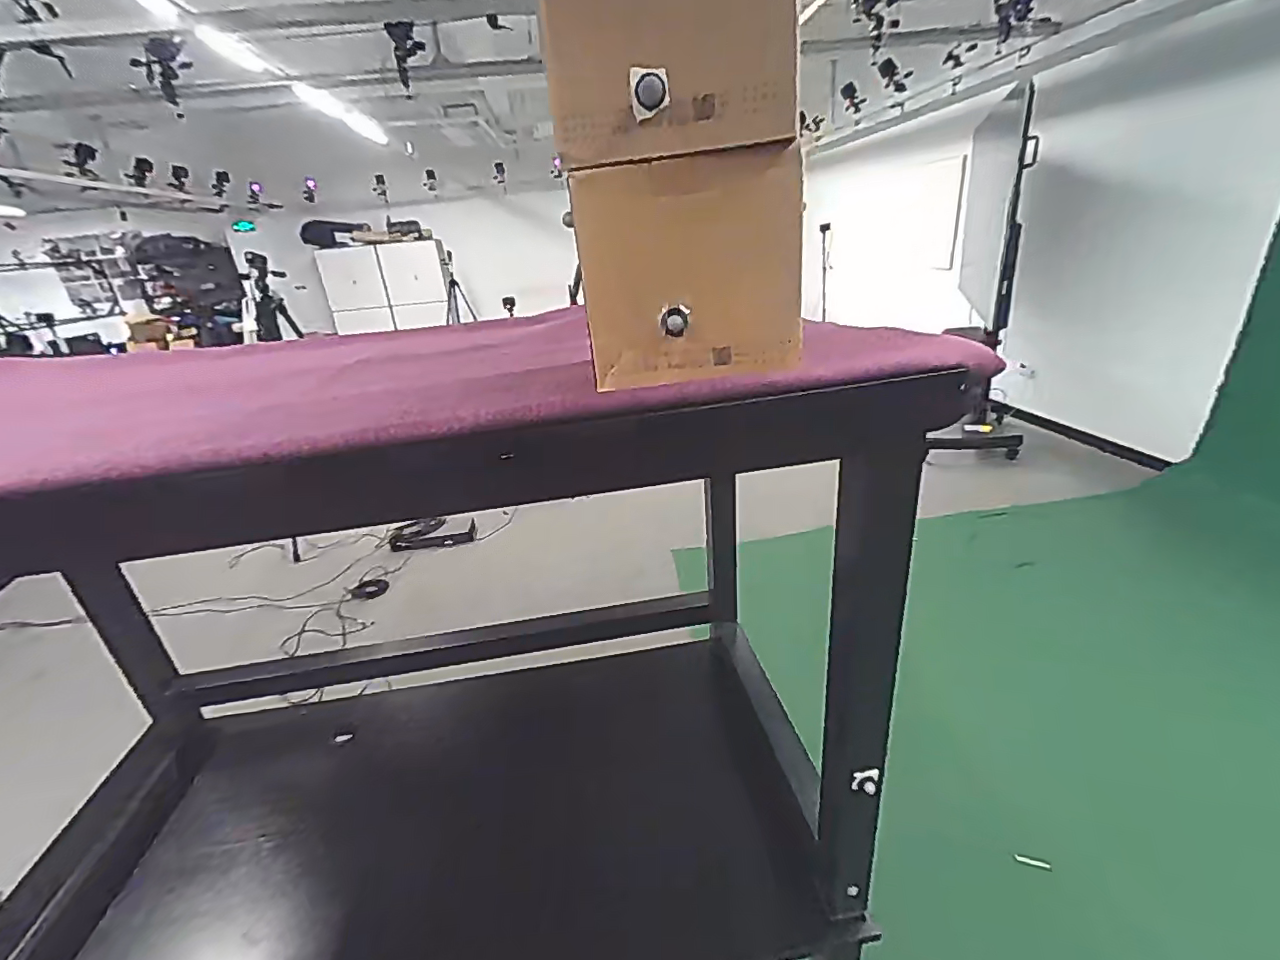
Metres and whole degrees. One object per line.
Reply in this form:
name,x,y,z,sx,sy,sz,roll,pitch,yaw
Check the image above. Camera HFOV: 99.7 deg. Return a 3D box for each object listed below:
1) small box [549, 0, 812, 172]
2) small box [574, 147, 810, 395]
small box,0.031,-0.323,0.405,0.168,0.176,0.179,-3,26,9
small box,0.046,-0.180,0.479,0.168,0.176,0.179,-4,25,5
